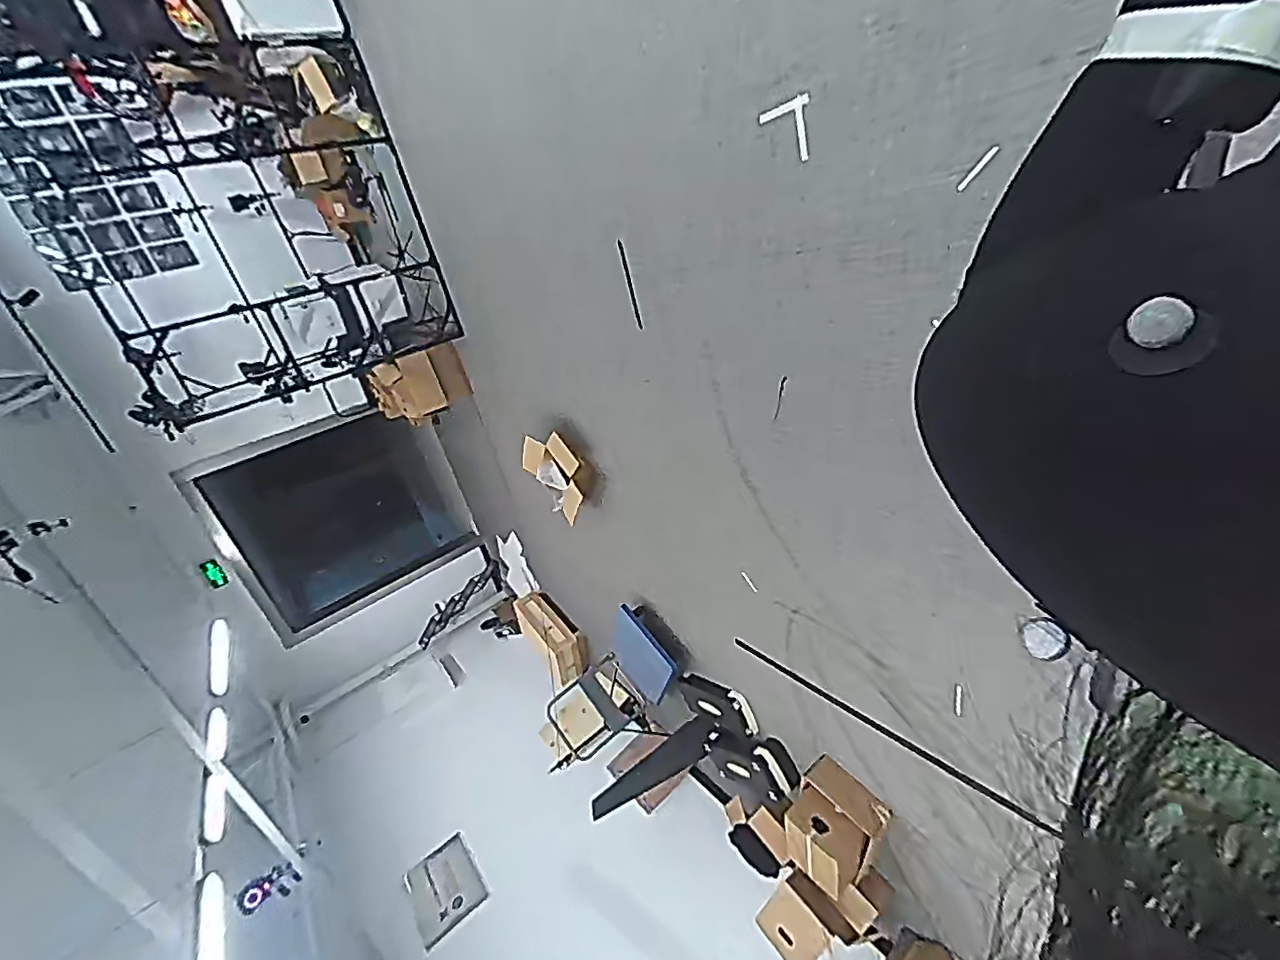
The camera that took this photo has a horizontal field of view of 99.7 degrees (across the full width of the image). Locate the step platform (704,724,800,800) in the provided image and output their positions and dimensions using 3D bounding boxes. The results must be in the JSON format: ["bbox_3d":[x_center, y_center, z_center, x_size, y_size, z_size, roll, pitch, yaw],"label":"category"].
[{"bbox_3d":[0.685,1.780,3.437,0.286,0.204,0.684,60,151,1],"label":"step platform"}]
